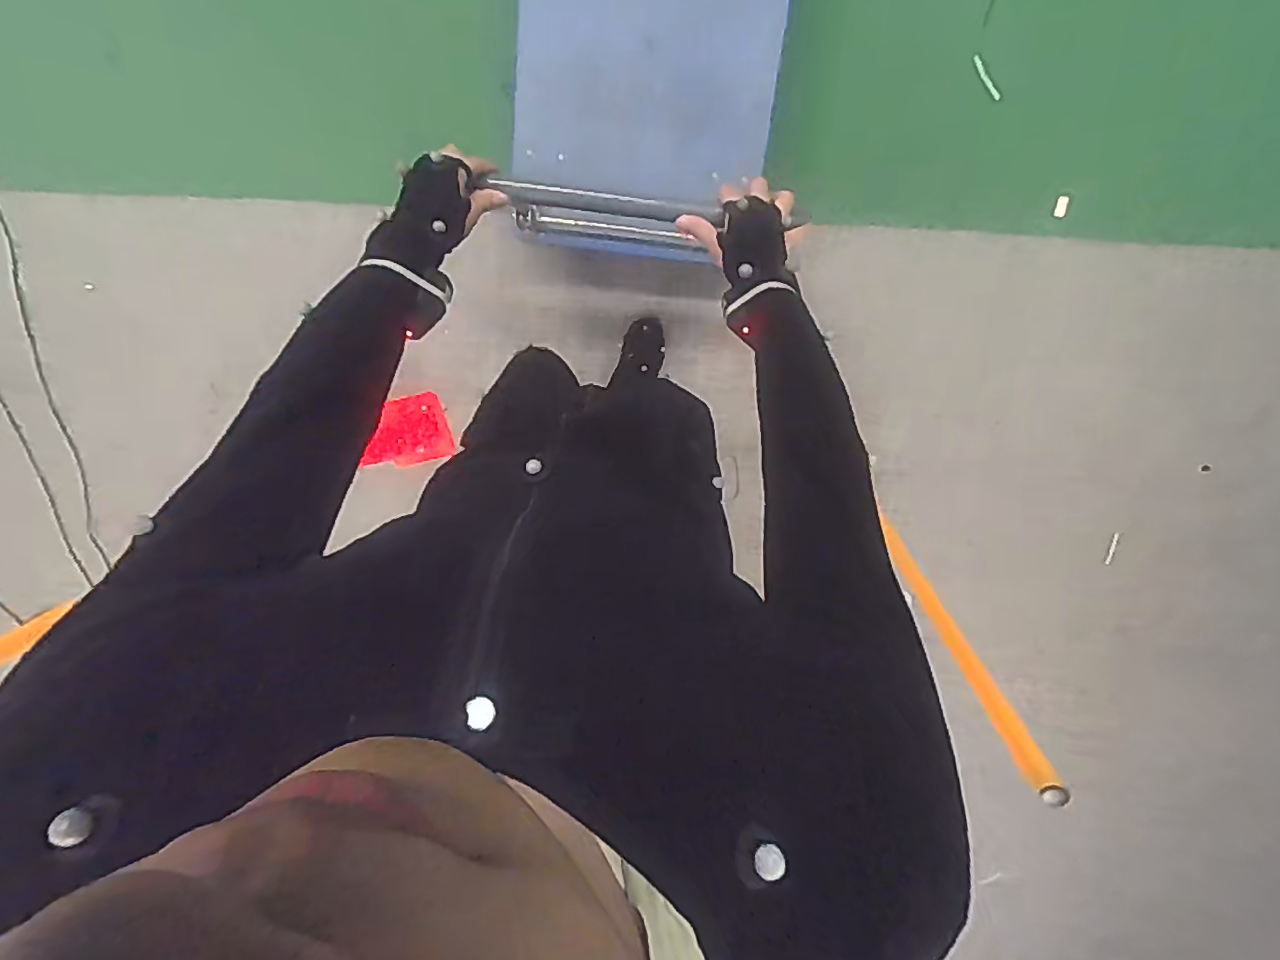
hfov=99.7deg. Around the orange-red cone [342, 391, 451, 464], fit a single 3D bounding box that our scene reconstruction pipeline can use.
[{"bbox_3d":[-0.679,-0.105,1.438,0.199,0.360,0.198,-10,107,6],"label":"orange-red cone"}]
